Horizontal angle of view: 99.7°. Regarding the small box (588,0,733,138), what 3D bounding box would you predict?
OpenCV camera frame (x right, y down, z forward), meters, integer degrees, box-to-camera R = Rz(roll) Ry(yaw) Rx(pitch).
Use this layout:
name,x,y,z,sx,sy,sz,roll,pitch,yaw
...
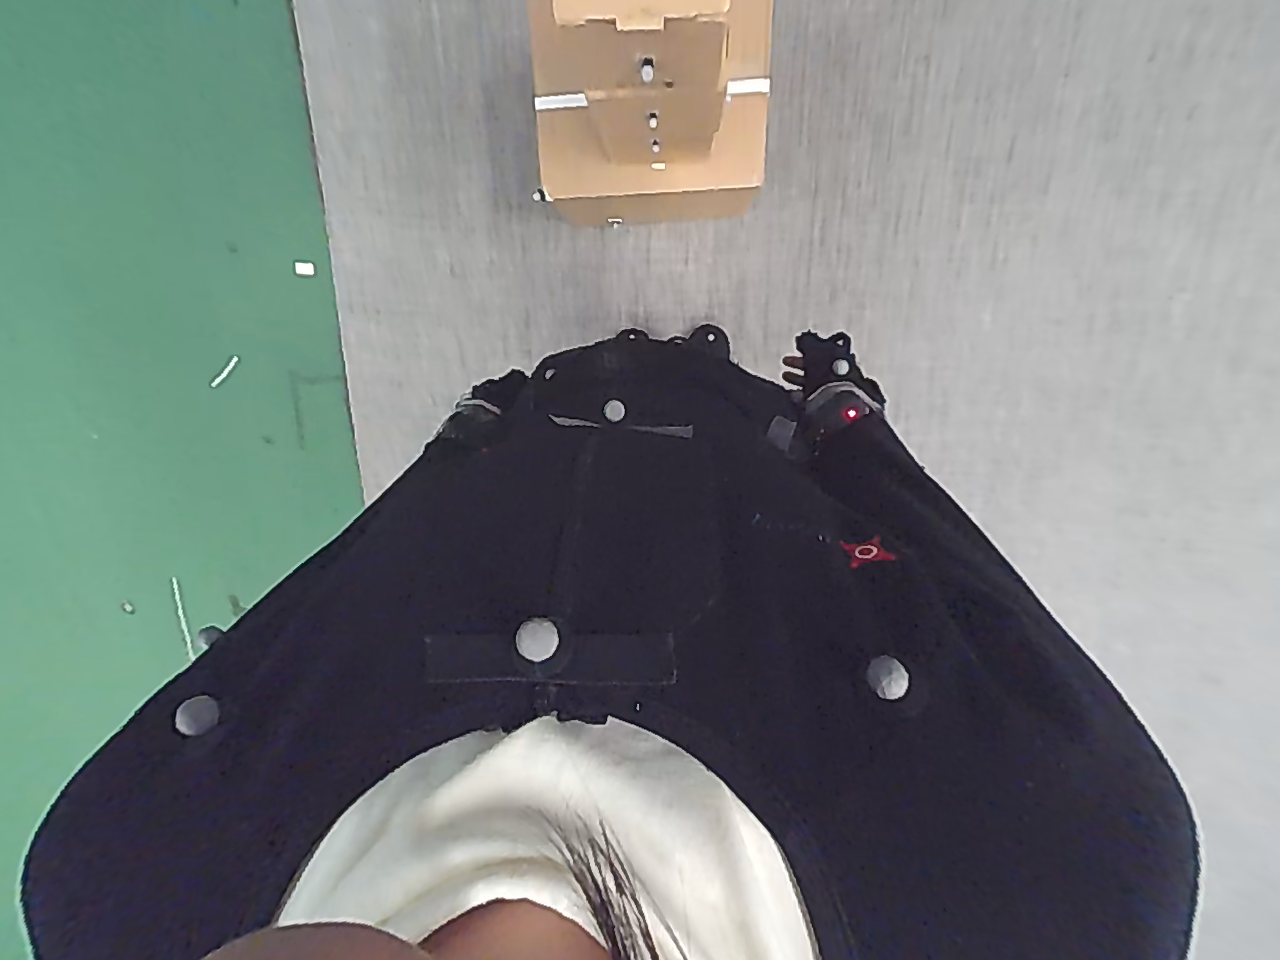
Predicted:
name,x,y,z,sx,sy,sz,roll,pitch,yaw
small box,0.025,-0.569,0.707,0.179,0.176,0.168,-3,108,6

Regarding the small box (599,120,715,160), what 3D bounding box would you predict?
name,x,y,z,sx,sy,sz,roll,pitch,yaw
small box,0.032,-0.623,0.862,0.179,0.176,0.168,1,108,4

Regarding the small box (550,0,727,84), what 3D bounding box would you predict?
name,x,y,z,sx,sy,sz,roll,pitch,yaw
small box,0.008,-0.530,0.549,0.168,0.176,0.179,4,108,5
